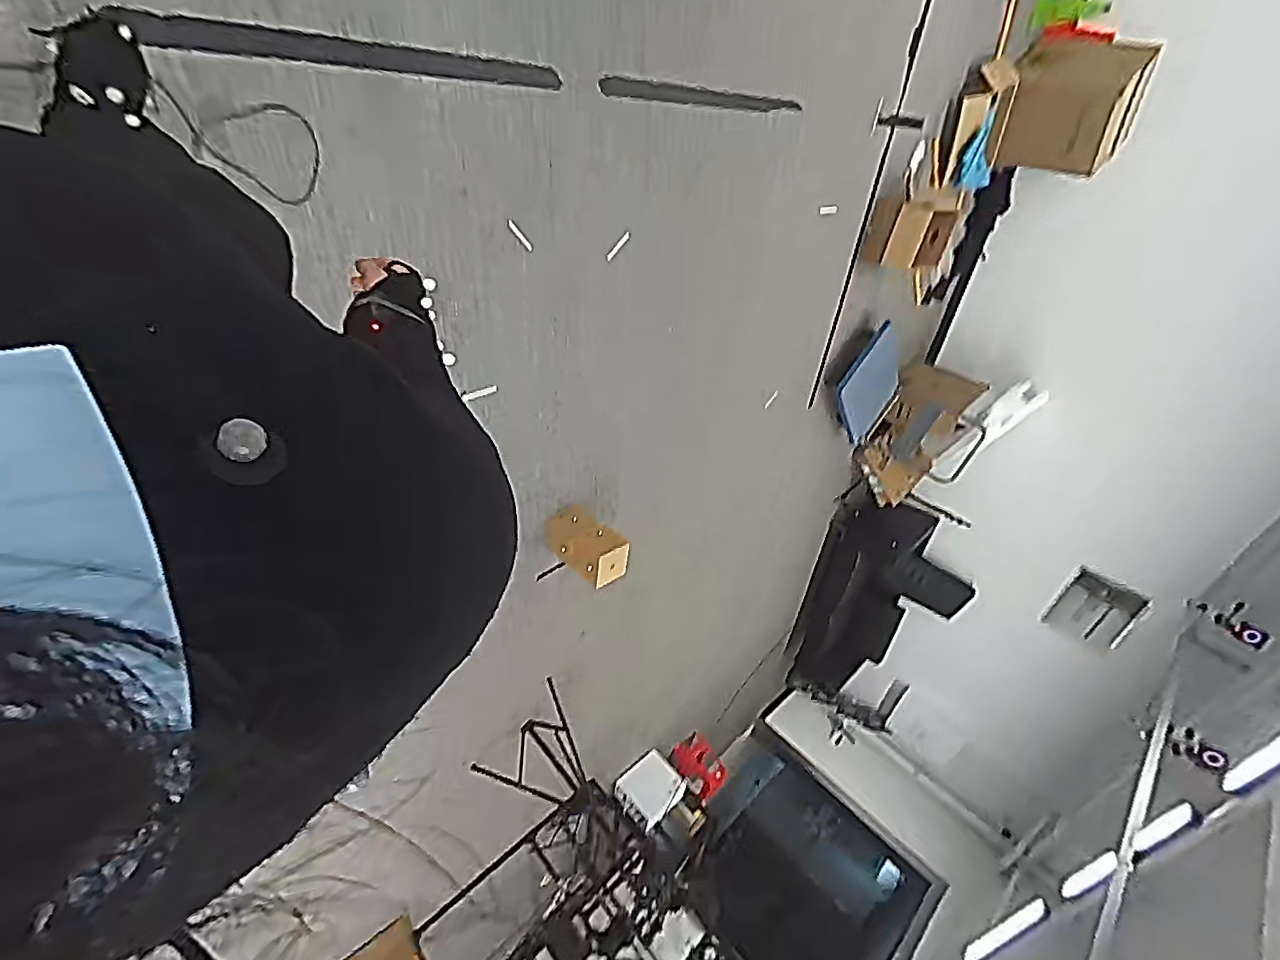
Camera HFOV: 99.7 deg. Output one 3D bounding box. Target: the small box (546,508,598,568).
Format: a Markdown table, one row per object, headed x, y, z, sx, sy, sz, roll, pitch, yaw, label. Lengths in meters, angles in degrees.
| x | y | z | sx | sy | sz | roll | pitch | yaw | label |
| --- | --- | --- | --- | --- | --- | --- | --- | --- | --- |
| -0.298 | 0.245 | 2.352 | 0.168 | 0.176 | 0.179 | -27 | 138 | -35 | small box |

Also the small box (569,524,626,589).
| x | y | z | sx | sy | sz | roll | pitch | yaw | label |
| --- | --- | --- | --- | --- | --- | --- | --- | --- | --- |
| -0.182 | 0.315 | 2.262 | 0.168 | 0.176 | 0.179 | -22 | 133 | -40 | small box |
